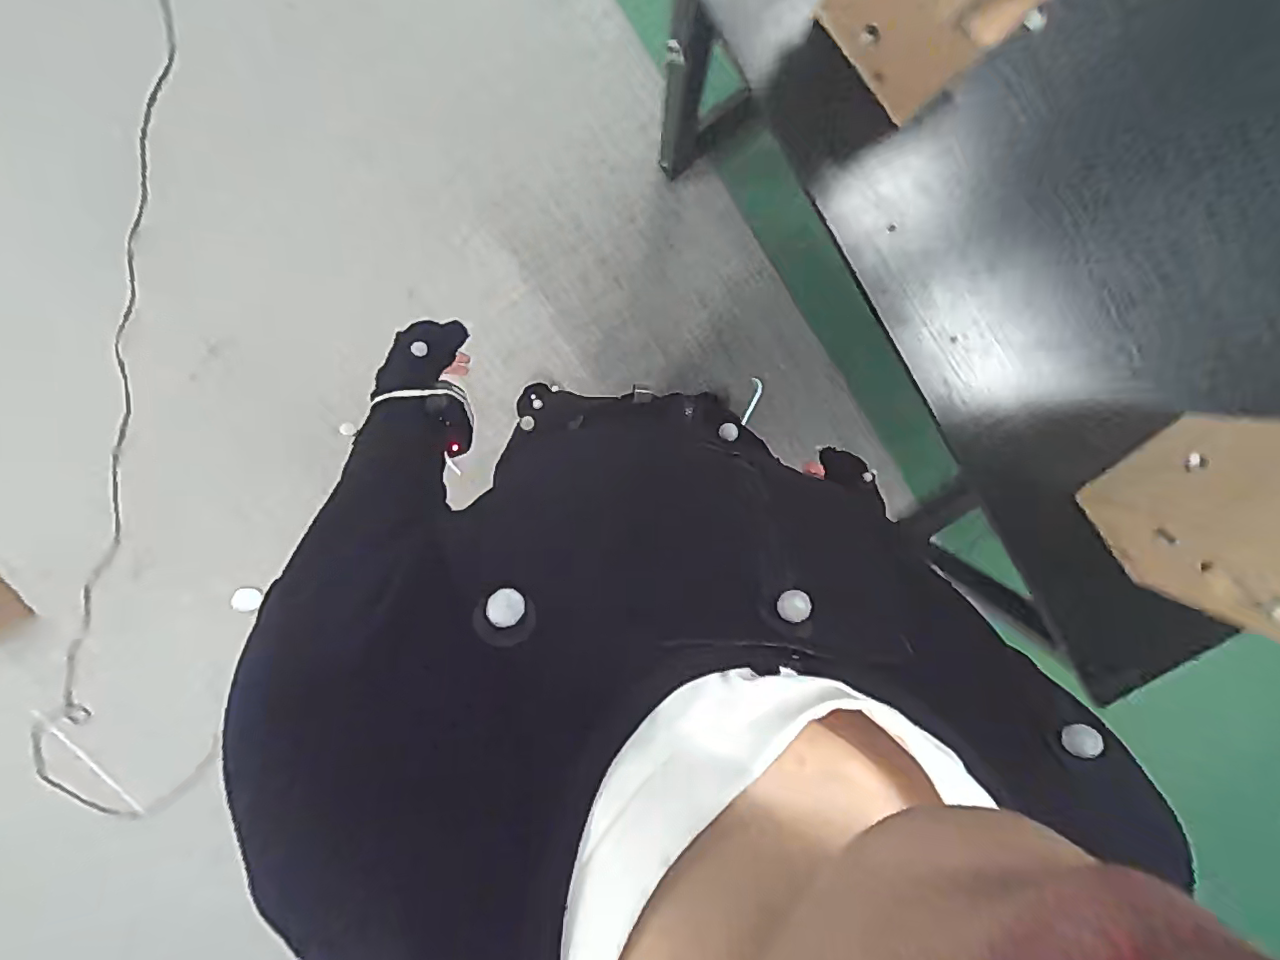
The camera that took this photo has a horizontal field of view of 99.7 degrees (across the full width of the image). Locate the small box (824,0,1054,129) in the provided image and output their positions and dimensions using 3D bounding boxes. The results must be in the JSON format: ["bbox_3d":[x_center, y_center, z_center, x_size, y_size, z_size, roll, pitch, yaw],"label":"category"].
[{"bbox_3d":[0.325,-0.518,0.556,0.179,0.176,0.168,-41,100,8],"label":"small box"}]

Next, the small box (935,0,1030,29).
[{"bbox_3d":[0.326,-0.487,0.394,0.179,0.176,0.168,-20,102,3],"label":"small box"}]

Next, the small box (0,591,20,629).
[{"bbox_3d":[-1.876,0.374,1.464,0.168,0.176,0.179,-32,100,6],"label":"small box"}]
